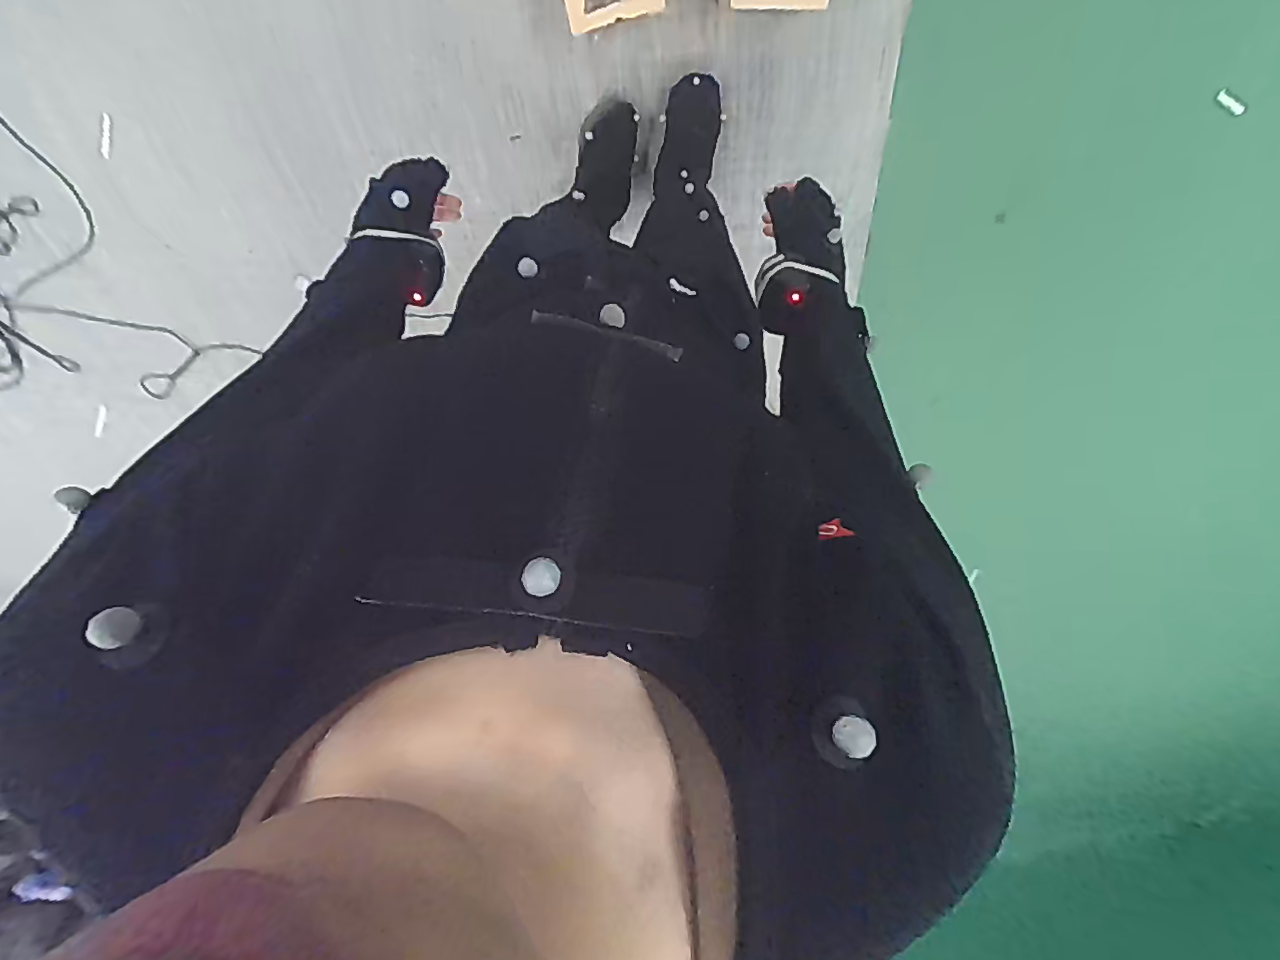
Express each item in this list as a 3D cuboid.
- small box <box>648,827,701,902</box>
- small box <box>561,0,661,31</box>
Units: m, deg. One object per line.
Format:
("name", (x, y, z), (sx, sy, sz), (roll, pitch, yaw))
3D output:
("small box", (0.114, 1.270, 1.783), (0.168, 0.176, 0.179), (-3, 130, 3))
("small box", (-0.059, -0.889, 0.910), (0.168, 0.176, 0.179), (-9, 129, 7))
